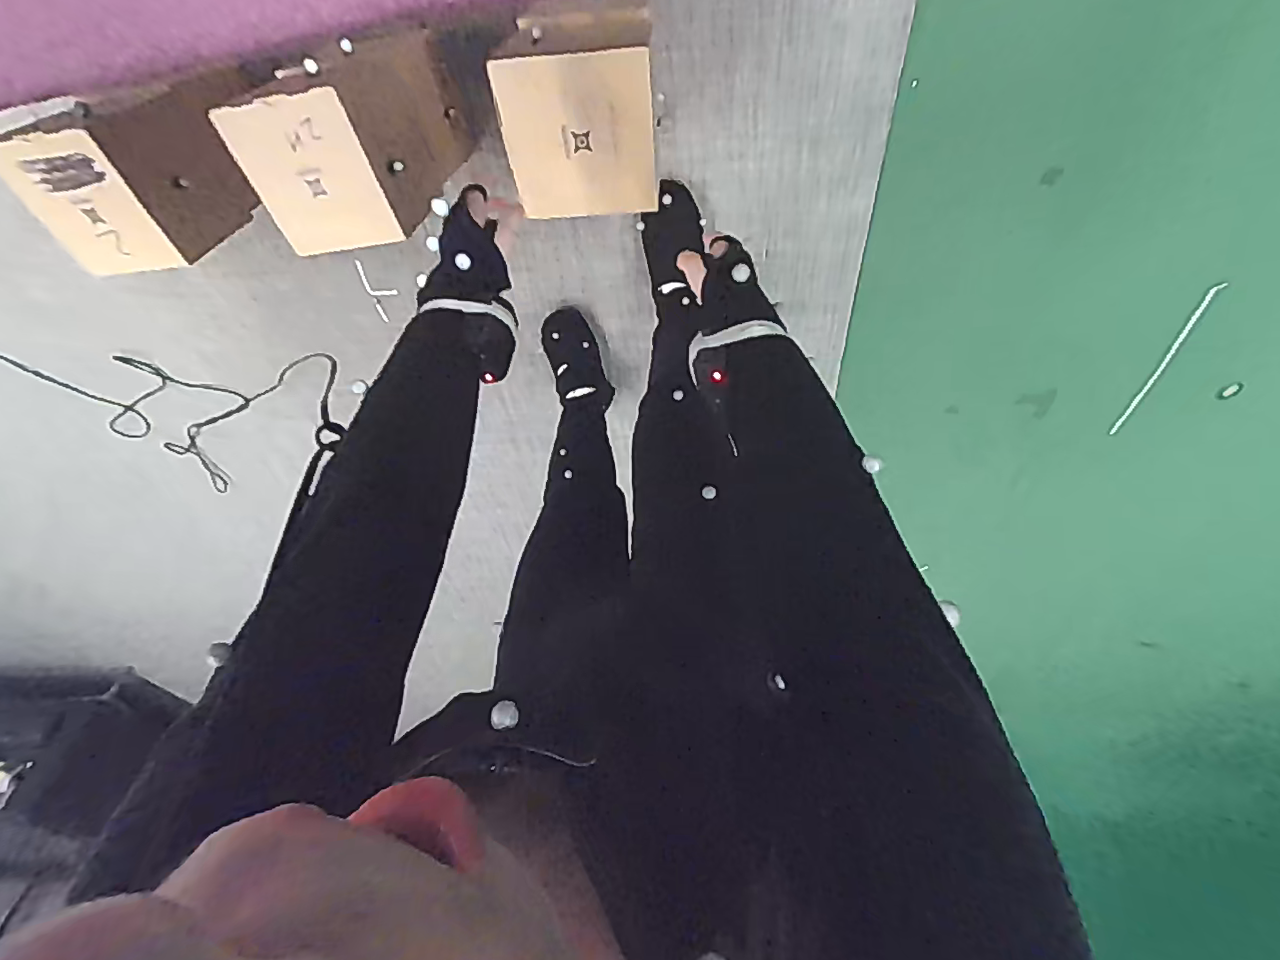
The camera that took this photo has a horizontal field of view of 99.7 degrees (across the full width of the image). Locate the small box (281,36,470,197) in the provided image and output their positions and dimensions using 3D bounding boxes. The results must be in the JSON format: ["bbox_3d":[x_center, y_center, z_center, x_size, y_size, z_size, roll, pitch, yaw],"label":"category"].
[{"bbox_3d":[-0.392,-0.562,0.836,0.179,0.176,0.168,-2,137,8],"label":"small box"}]
